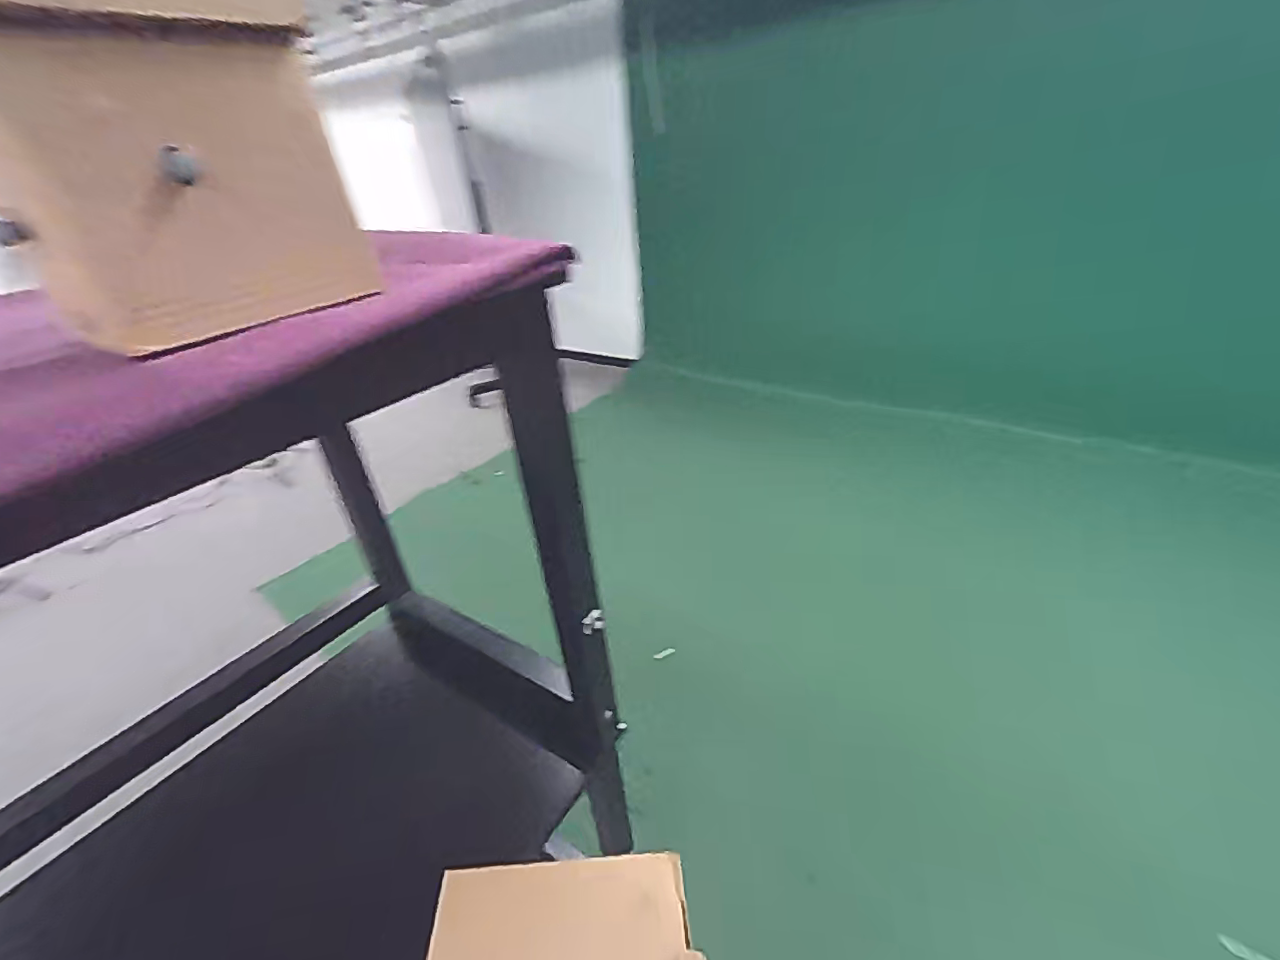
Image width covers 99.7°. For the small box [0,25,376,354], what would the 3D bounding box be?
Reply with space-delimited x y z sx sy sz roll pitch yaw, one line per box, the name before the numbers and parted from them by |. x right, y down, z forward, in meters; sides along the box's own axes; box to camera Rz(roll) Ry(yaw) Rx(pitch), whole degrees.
small box | -0.335 -0.200 0.392 0.168 0.176 0.179 15 38 32

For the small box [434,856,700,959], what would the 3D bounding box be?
small box | -0.045 0.394 0.375 0.179 0.176 0.168 -4 32 -1

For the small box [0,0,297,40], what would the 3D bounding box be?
small box | -0.343 -0.336 0.301 0.168 0.176 0.179 14 37 32
